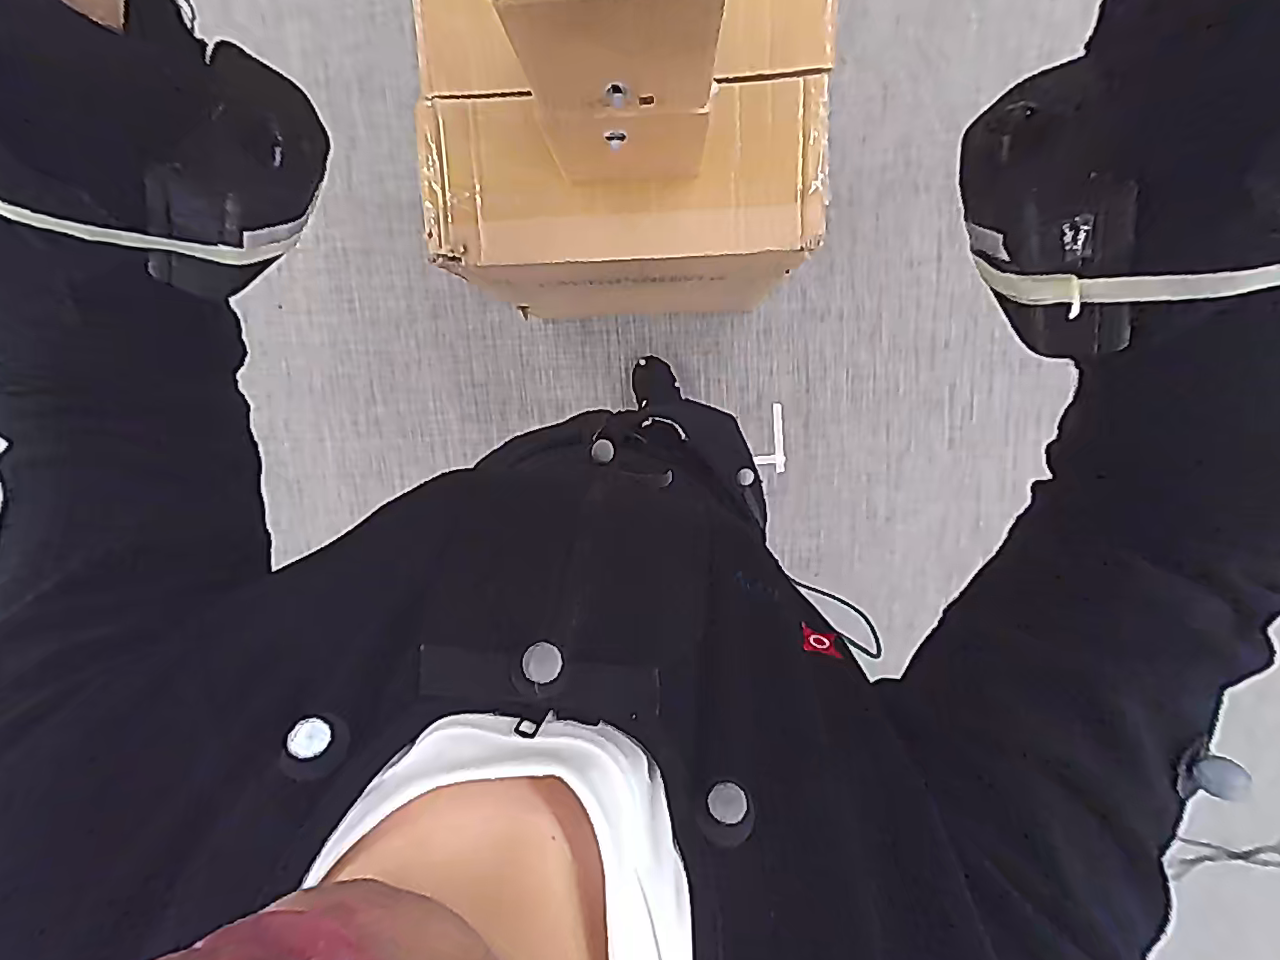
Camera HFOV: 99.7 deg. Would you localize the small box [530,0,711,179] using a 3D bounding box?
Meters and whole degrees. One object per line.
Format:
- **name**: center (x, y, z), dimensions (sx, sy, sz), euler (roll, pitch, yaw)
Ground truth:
- **small box**: center (-0.015, -0.451, 0.599), dimensions (0.179, 0.176, 0.168), euler (-1, 100, 2)
